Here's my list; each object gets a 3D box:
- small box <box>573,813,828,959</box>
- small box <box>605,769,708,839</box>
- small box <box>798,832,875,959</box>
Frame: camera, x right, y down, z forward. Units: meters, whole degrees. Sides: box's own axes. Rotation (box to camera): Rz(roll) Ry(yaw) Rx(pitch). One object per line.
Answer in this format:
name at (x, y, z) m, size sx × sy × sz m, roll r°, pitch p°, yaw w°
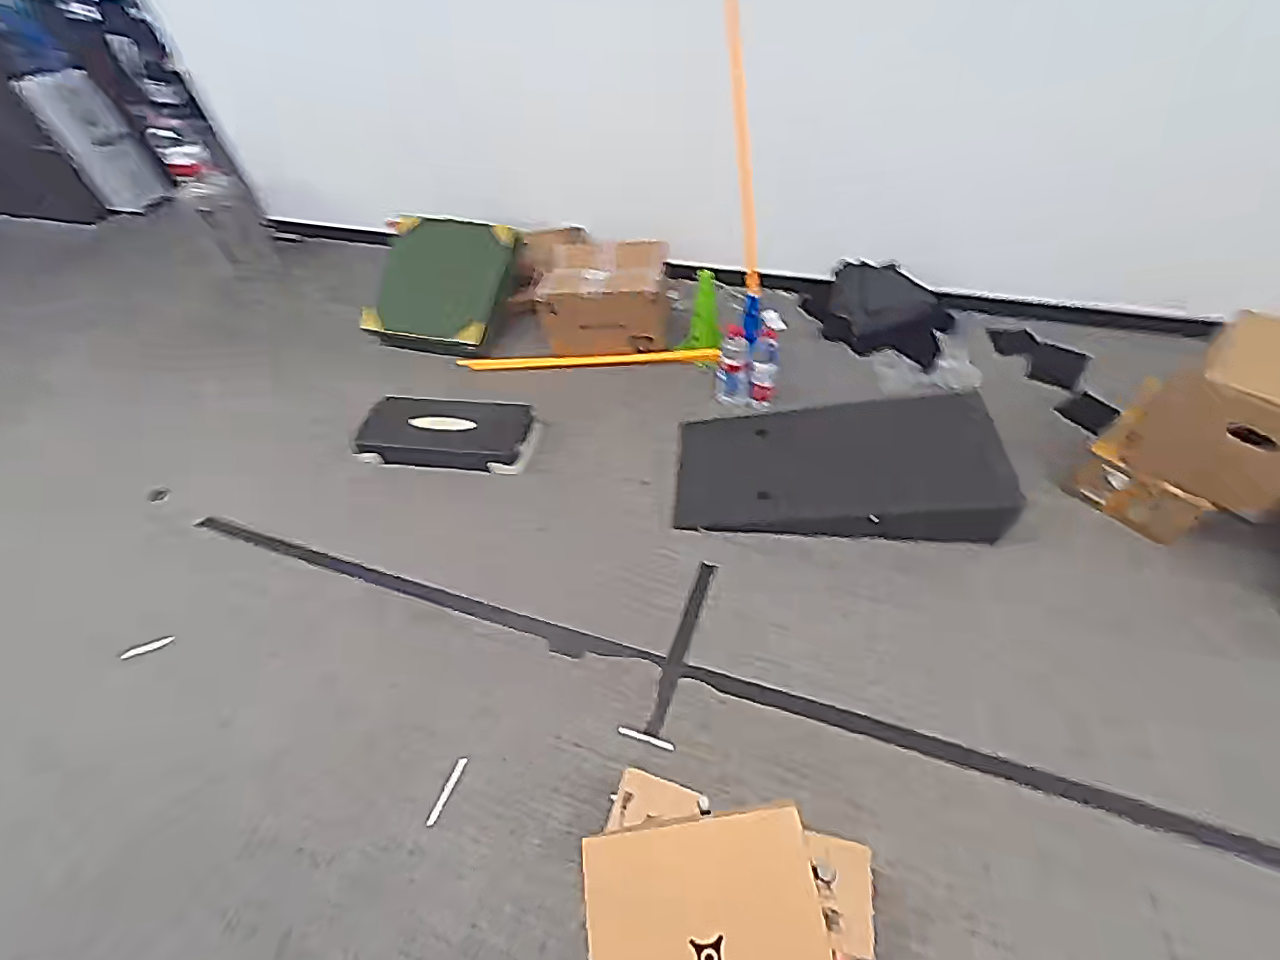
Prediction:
small box at (0.056, 0.365, 0.411) m, size 0.168 × 0.176 × 0.179 m, roll -13°, pitch 59°, yaw 6°
small box at (0.035, 0.743, 1.140) m, size 0.179 × 0.176 × 0.168 m, roll 14°, pitch 53°, yaw 16°
small box at (0.351, 0.813, 1.051) m, size 0.168 × 0.176 × 0.179 m, roll 8°, pitch 50°, yaw 12°
